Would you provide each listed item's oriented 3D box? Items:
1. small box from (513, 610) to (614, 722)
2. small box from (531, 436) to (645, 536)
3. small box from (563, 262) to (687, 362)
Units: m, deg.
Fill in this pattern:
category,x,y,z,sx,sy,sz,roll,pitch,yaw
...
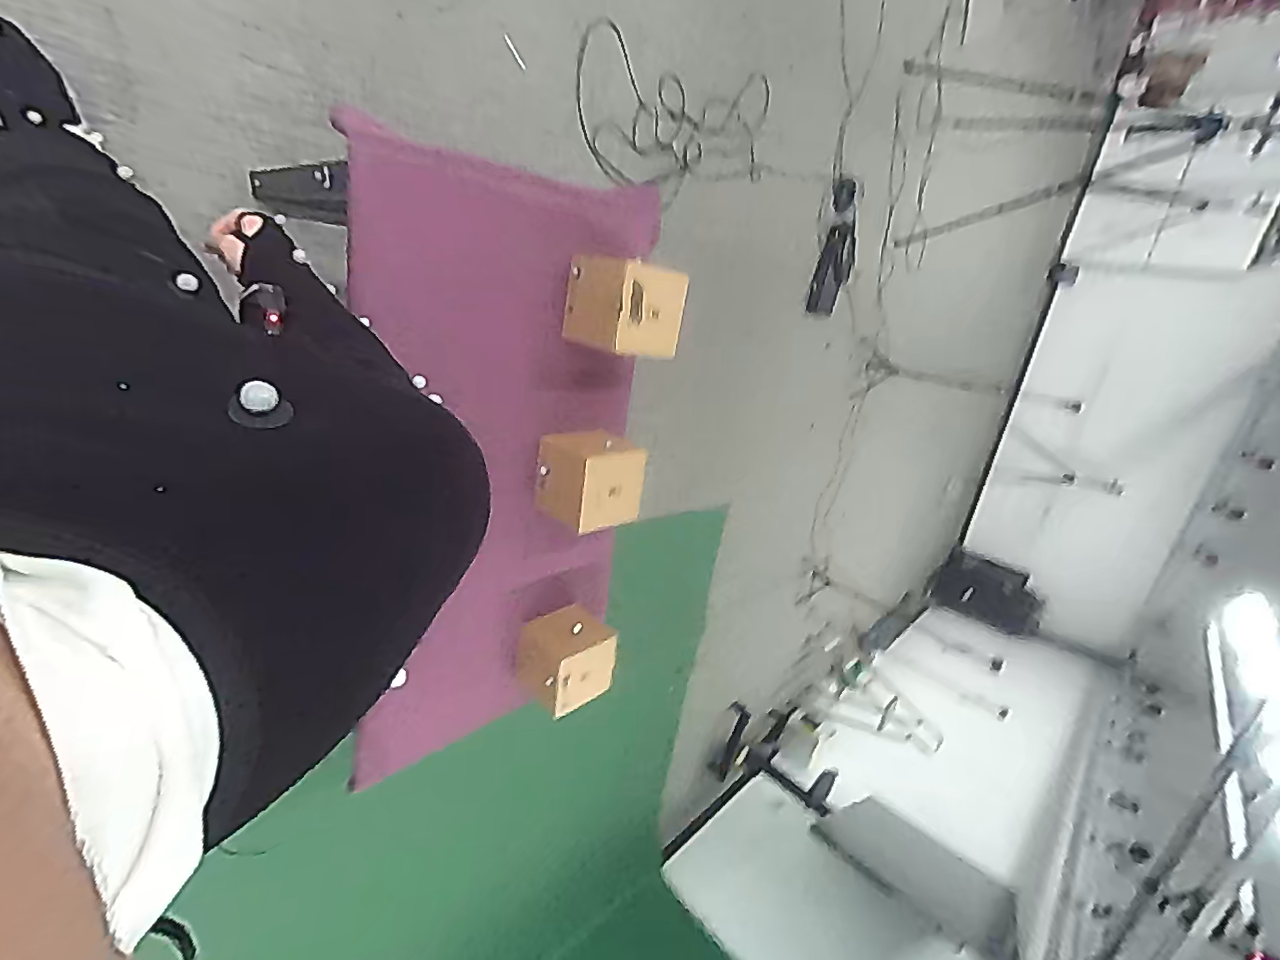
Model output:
category,x,y,z,sx,sy,sz,roll,pitch,yaw
small box,-0.191,0.448,1.338,0.179,0.176,0.168,-12,117,-45
small box,-0.116,0.004,1.197,0.179,0.176,0.168,-10,115,-45
small box,-0.036,-0.343,1.103,0.179,0.176,0.168,-7,115,-45
